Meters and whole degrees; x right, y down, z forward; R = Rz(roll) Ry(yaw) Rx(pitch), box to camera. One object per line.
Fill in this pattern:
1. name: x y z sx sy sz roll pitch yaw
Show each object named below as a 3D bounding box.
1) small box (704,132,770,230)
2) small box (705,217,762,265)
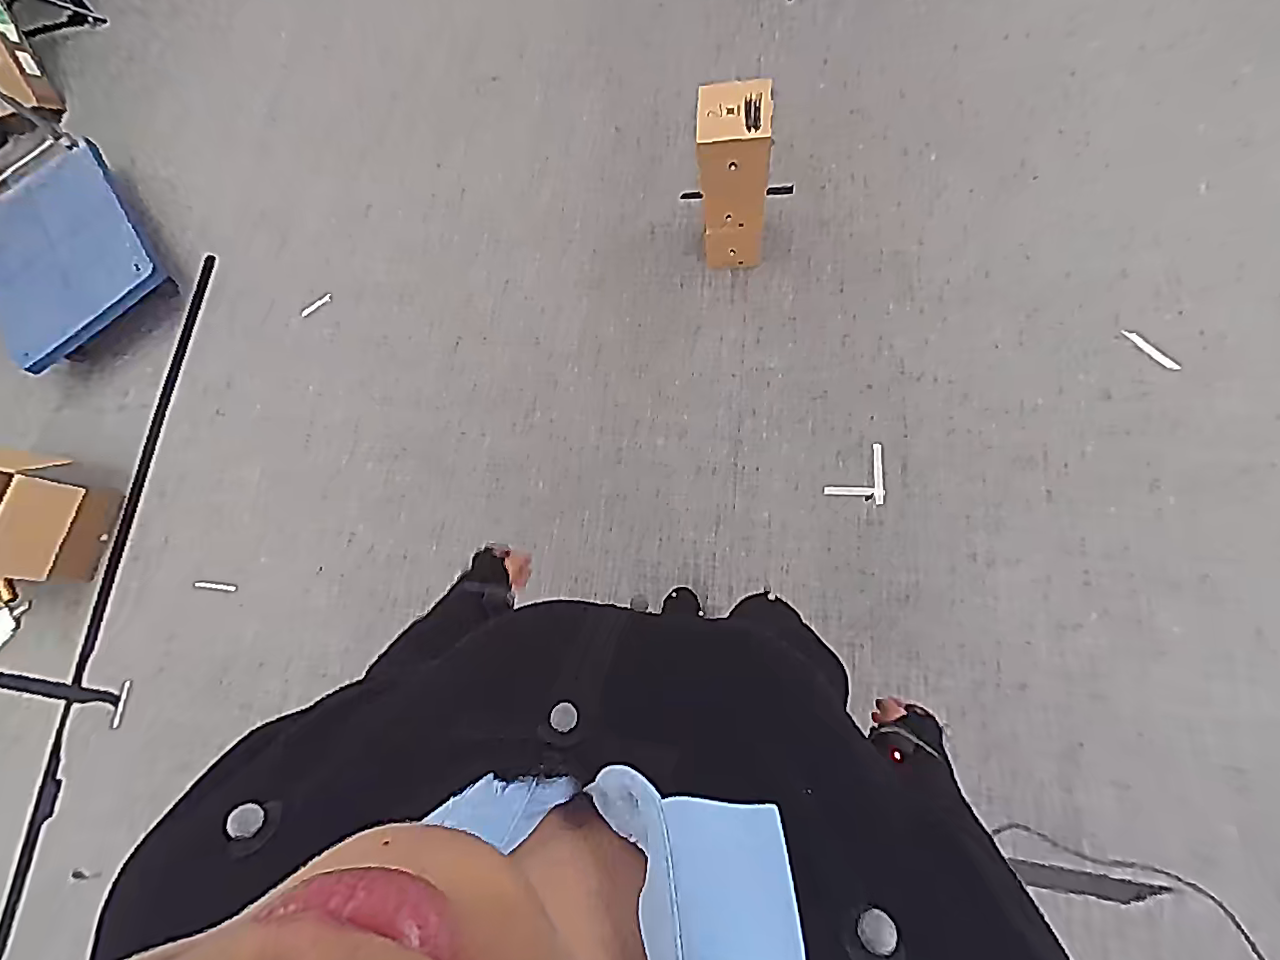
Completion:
1. small box: 0.268 -0.823 1.498 0.168 0.176 0.179 4 78 11
2. small box: 0.289 -0.776 1.653 0.168 0.176 0.179 1 76 10
